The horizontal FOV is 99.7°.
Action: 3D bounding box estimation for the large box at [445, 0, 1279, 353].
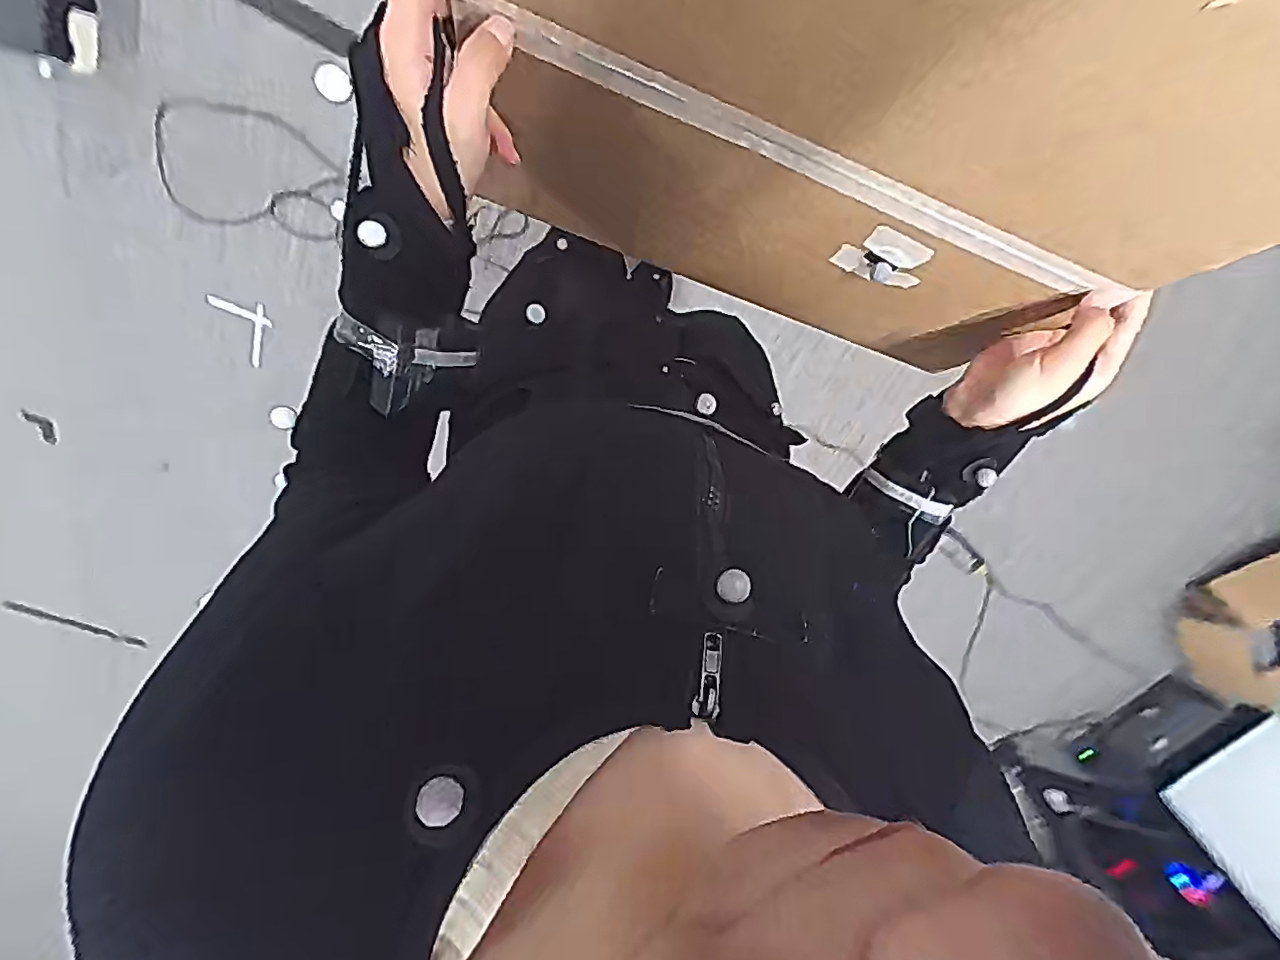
[{"bbox_3d":[0.127,-0.319,0.312,0.408,0.320,0.320,15,82,-11],"label":"large box"}]
